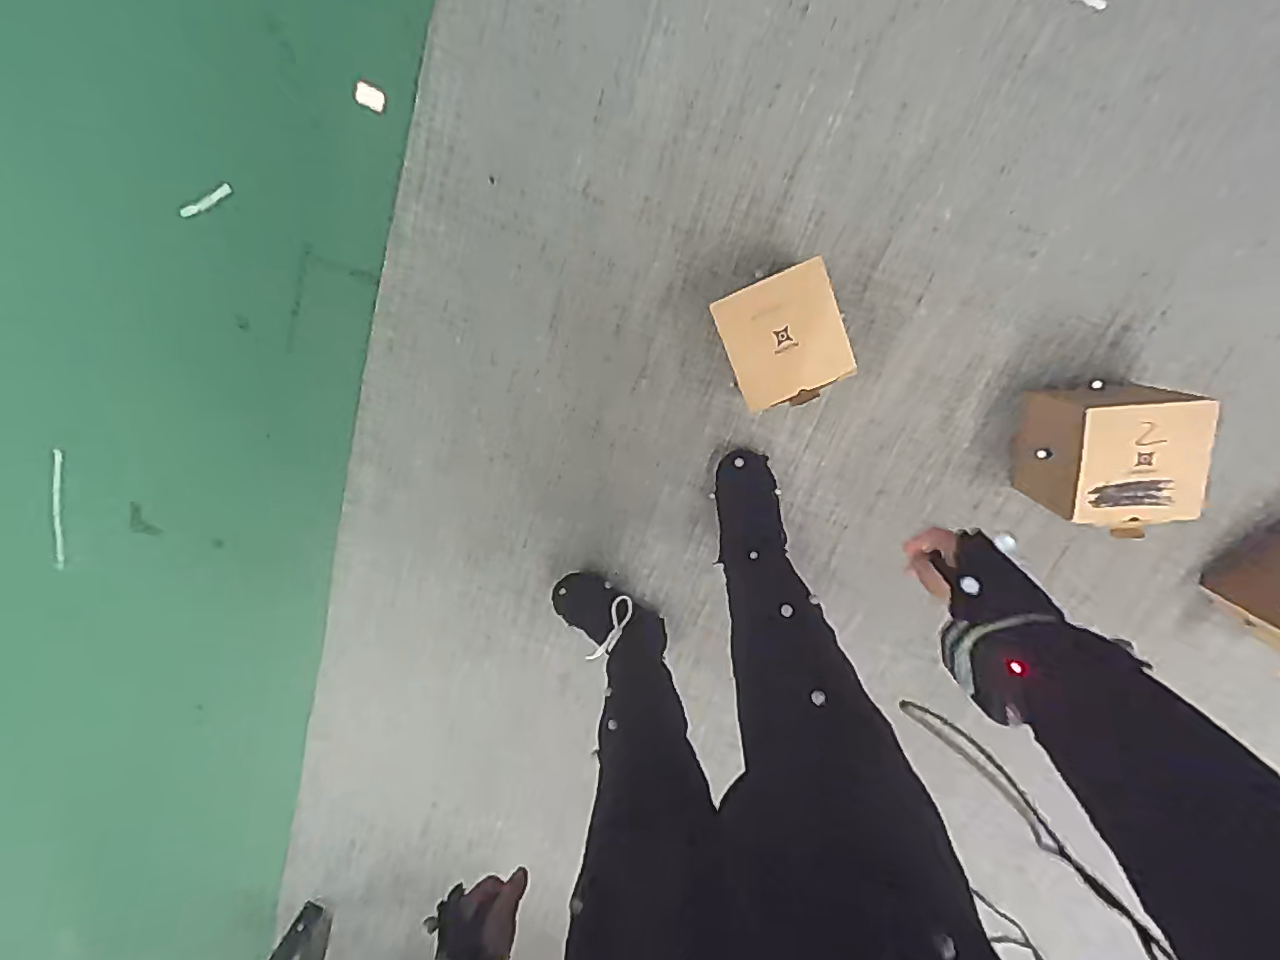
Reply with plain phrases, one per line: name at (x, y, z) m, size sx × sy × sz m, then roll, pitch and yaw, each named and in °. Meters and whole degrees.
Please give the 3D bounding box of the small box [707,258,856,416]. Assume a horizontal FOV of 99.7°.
small box at (0.212, -0.222, 0.843) m, size 0.168 × 0.176 × 0.179 m, roll -21°, pitch 103°, yaw 12°

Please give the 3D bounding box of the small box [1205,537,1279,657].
small box at (1.102, 0.207, 0.869) m, size 0.168 × 0.176 × 0.179 m, roll 39°, pitch 109°, yaw -7°
